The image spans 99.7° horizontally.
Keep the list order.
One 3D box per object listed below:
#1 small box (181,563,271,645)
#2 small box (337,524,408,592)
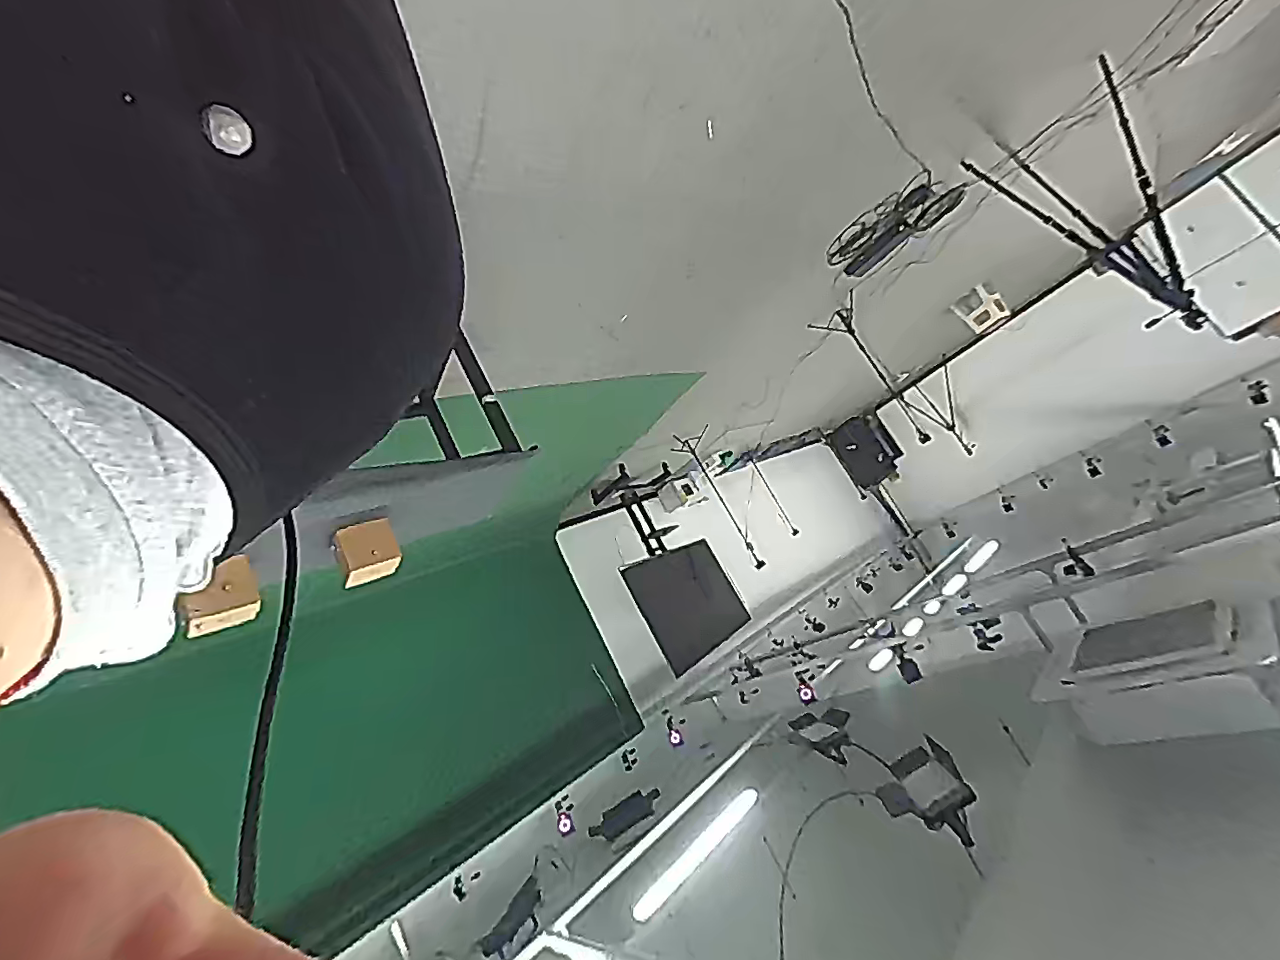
[{"bbox_3d":[-1.282,0.378,1.673,0.179,0.176,0.168,-16,161,-47],"label":"small box"},{"bbox_3d":[-0.975,0.280,1.968,0.179,0.176,0.168,-16,160,-40],"label":"small box"}]
